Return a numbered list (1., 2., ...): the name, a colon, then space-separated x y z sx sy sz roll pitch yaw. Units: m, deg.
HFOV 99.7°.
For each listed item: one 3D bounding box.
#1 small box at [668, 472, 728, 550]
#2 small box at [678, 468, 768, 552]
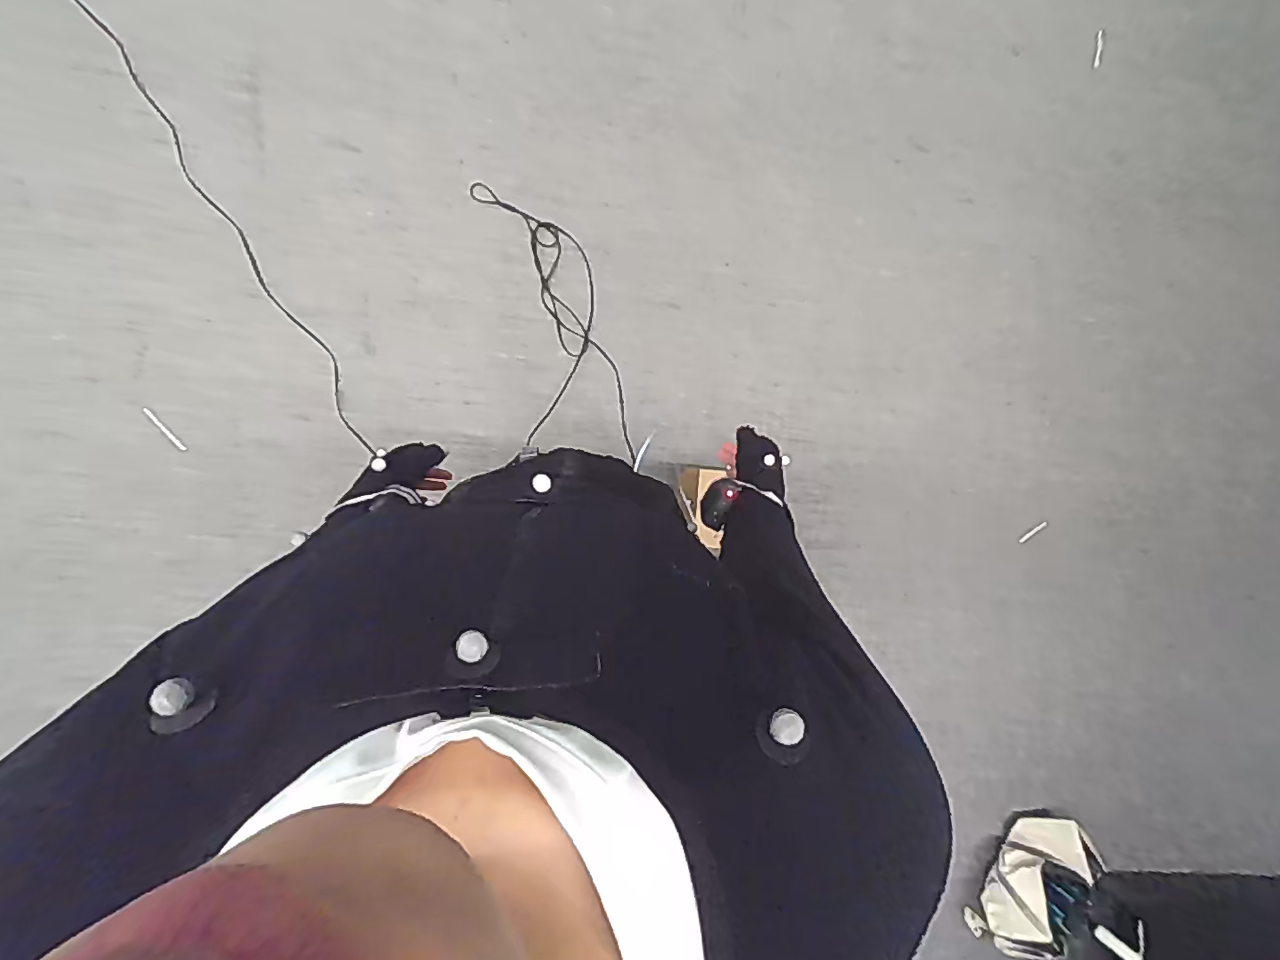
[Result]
1. small box: 0.175 0.078 1.442 0.168 0.176 0.179 8 91 -6
2. small box: 0.190 0.066 1.278 0.168 0.176 0.179 5 92 -6
